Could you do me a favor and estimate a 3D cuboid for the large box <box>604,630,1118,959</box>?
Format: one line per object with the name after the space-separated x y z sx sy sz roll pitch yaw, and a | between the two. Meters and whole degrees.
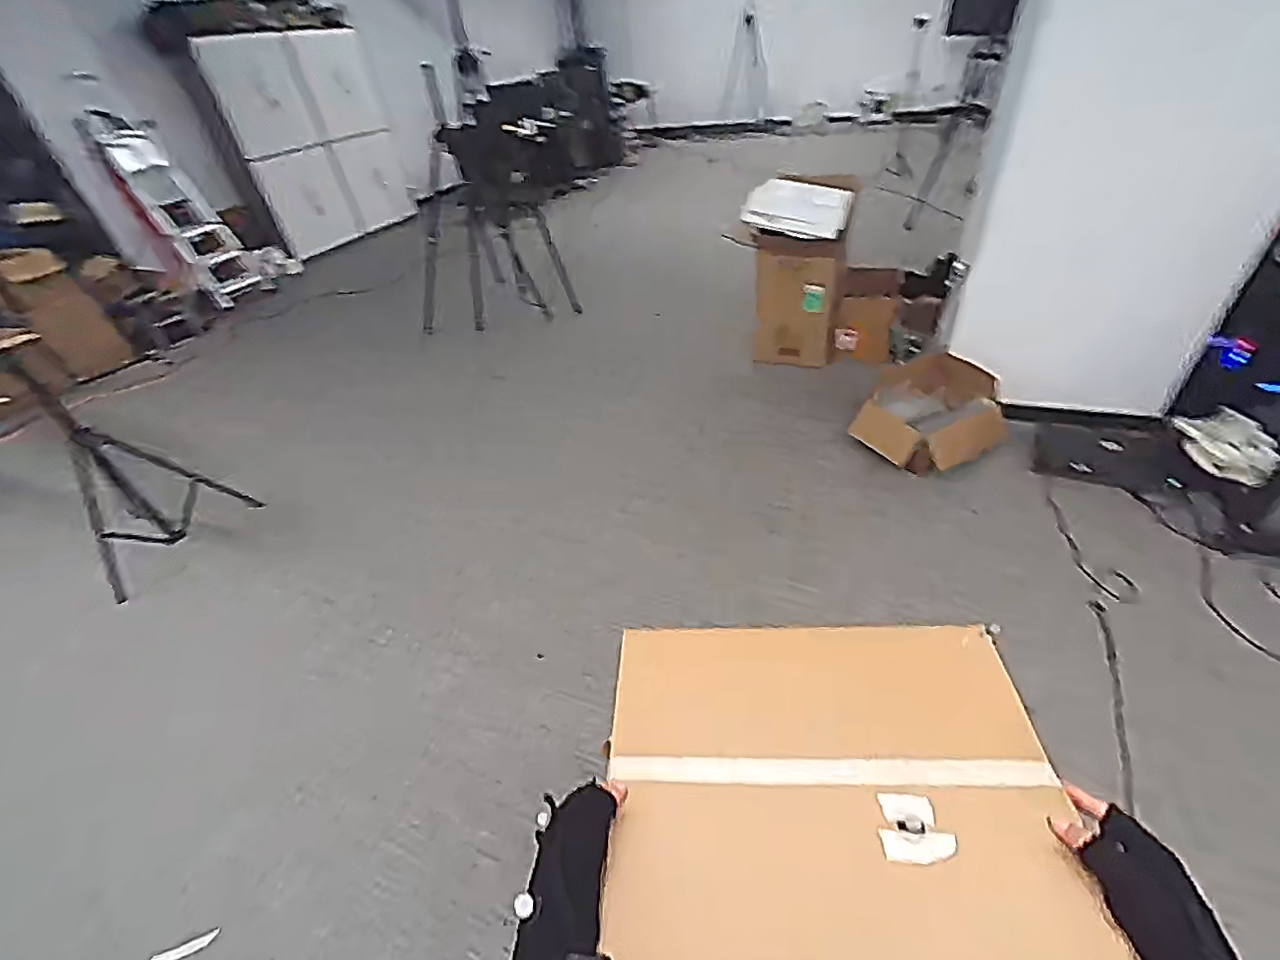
0.185 0.399 0.626 0.408 0.320 0.320 -3 42 6 | large box
